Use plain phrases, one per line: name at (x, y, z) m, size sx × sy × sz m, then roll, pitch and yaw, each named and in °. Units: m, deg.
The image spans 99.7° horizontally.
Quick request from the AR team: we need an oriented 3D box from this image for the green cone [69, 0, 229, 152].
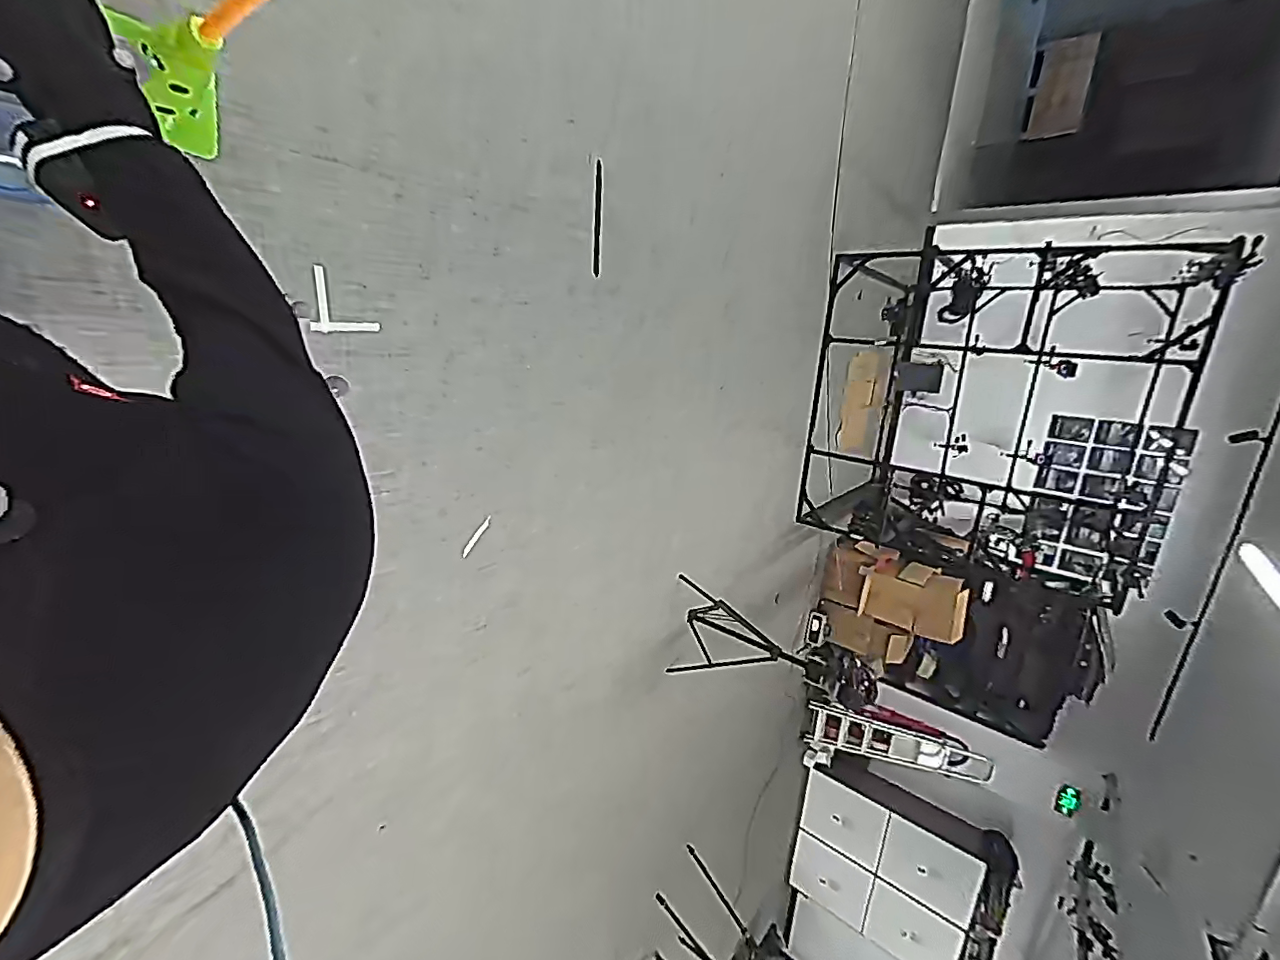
green cone at (-0.802, -0.726, 0.932) m, size 0.202 × 0.368 × 0.200 m, roll -10°, pitch 110°, yaw -52°
